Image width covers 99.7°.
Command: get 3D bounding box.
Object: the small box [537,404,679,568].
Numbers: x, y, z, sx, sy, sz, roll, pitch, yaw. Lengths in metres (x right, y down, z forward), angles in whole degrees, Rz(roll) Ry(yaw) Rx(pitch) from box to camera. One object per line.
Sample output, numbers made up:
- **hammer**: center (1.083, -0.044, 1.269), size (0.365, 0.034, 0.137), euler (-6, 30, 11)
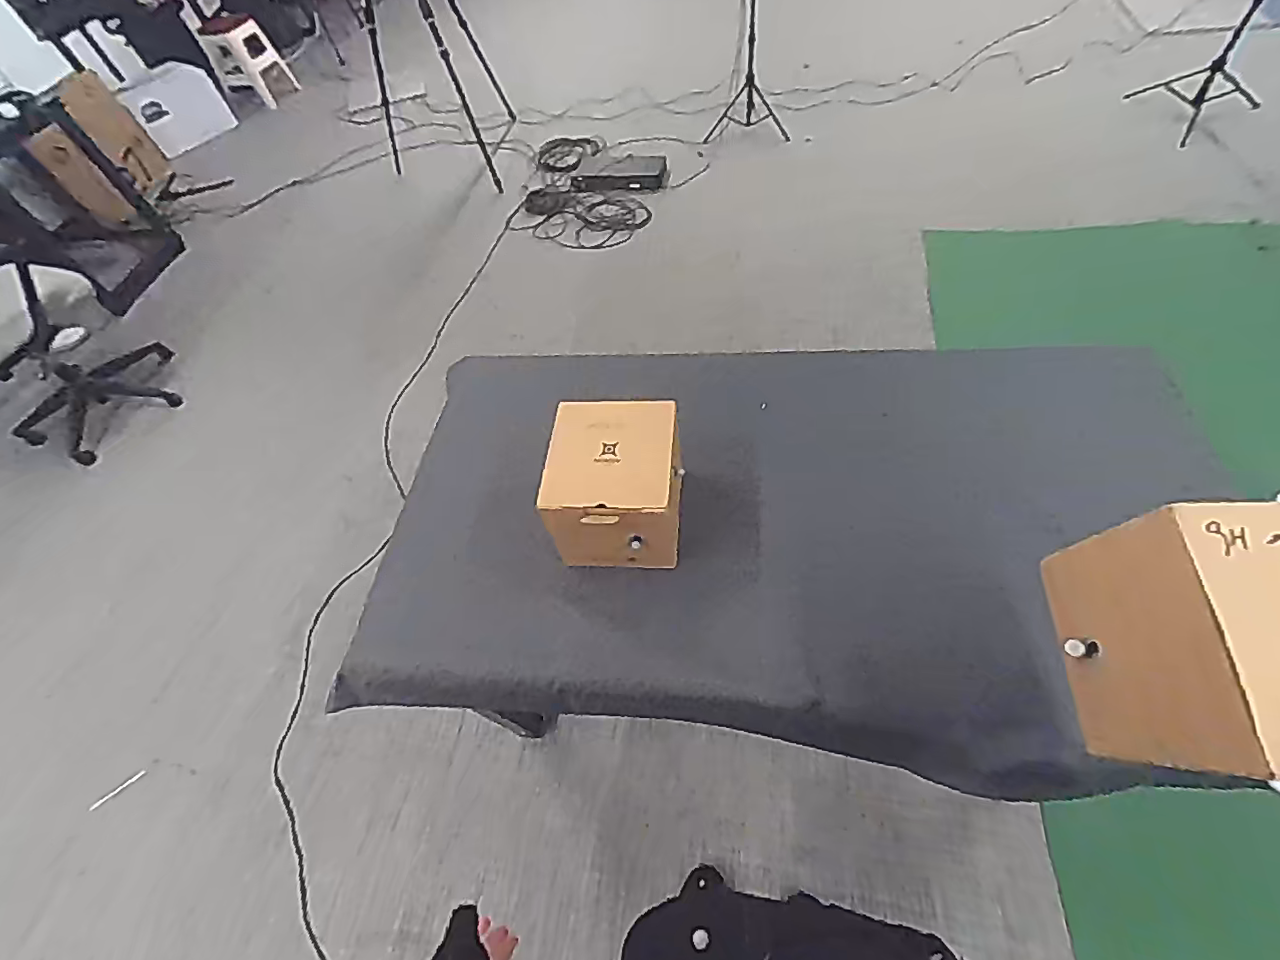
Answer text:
- **small box**: center (-0.032, 0.013, 0.764), size (0.168, 0.176, 0.179), euler (1, 55, 7)
